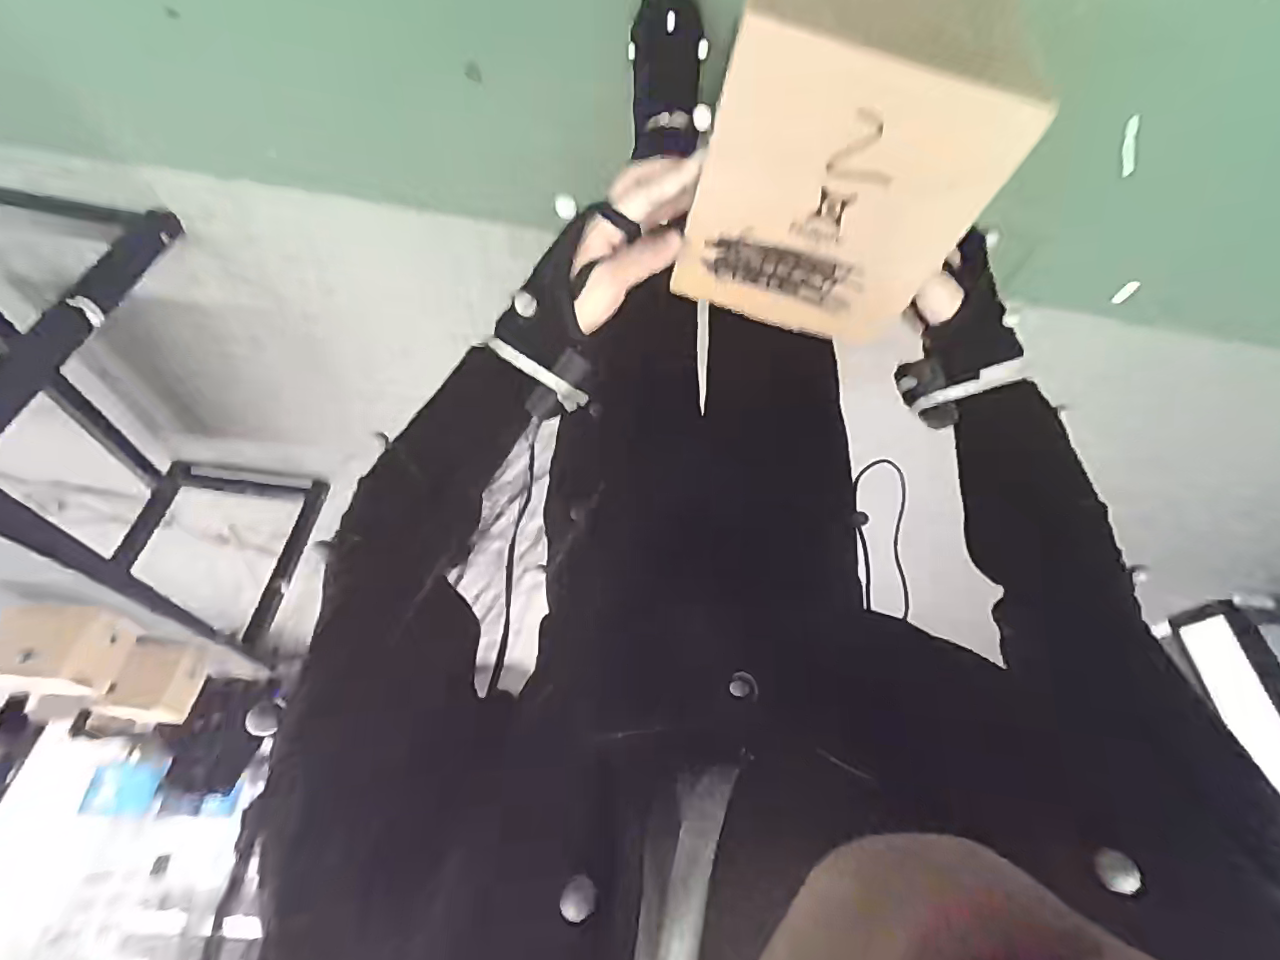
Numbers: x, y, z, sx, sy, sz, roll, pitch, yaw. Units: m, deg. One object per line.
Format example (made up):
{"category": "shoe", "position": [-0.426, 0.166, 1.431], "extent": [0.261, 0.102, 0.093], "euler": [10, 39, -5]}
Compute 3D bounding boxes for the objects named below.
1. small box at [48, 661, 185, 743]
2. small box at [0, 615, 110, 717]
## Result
{"category": "small box", "position": [-1.391, 0.596, 1.454], "extent": [0.179, 0.176, 0.168], "euler": [9, 145, -9]}
{"category": "small box", "position": [-1.345, 0.406, 1.185], "extent": [0.179, 0.176, 0.168], "euler": [8, 144, -8]}
